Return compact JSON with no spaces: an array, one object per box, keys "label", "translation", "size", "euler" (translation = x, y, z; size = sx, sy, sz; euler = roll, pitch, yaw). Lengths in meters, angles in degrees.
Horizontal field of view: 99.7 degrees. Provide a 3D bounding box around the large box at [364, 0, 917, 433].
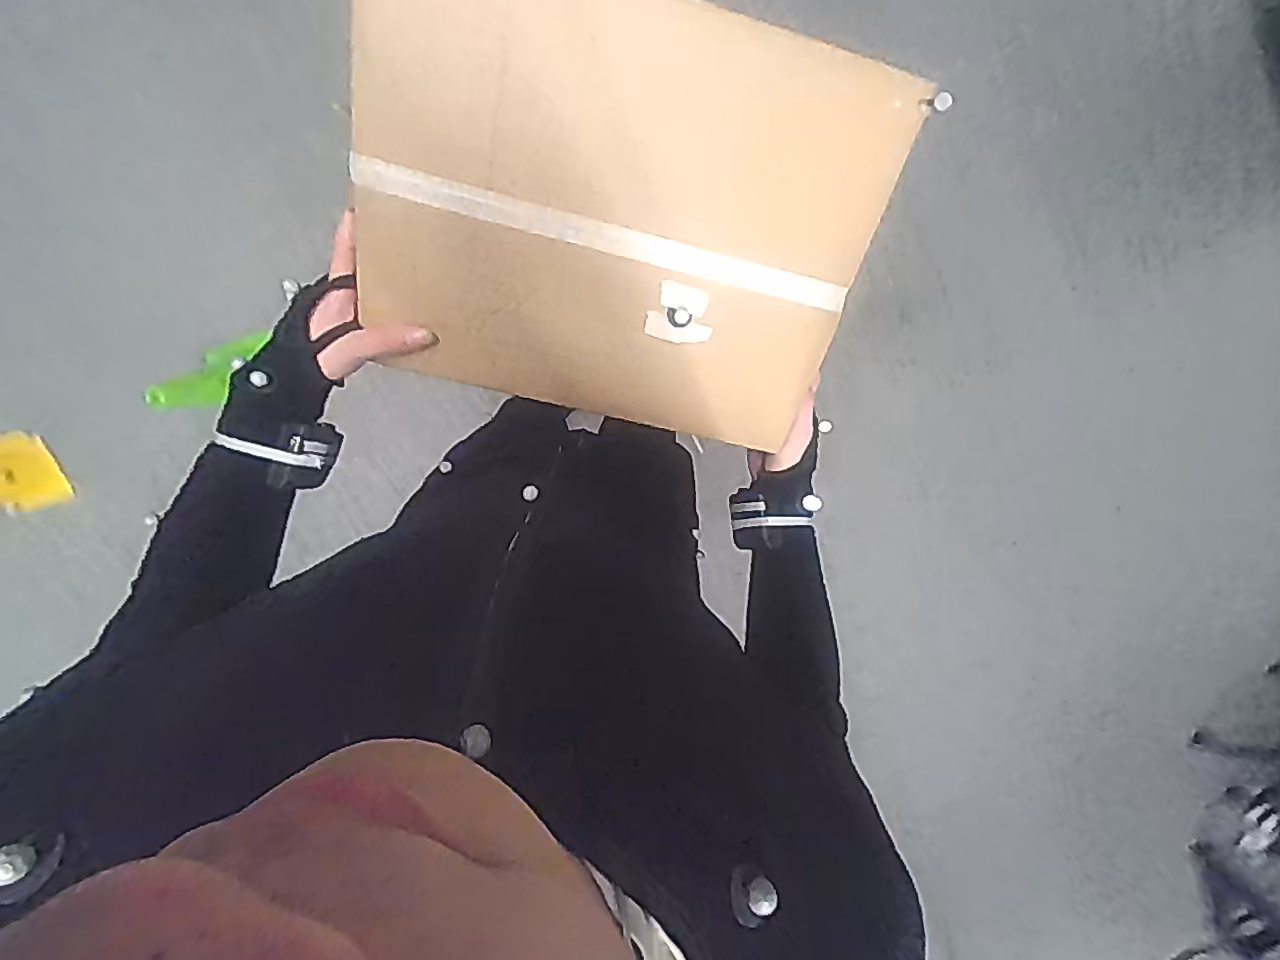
[{"label":"large box","translation":[-0.025,-0.282,0.574],"size":[0.408,0.320,0.320],"euler":[10,121,-9]}]
